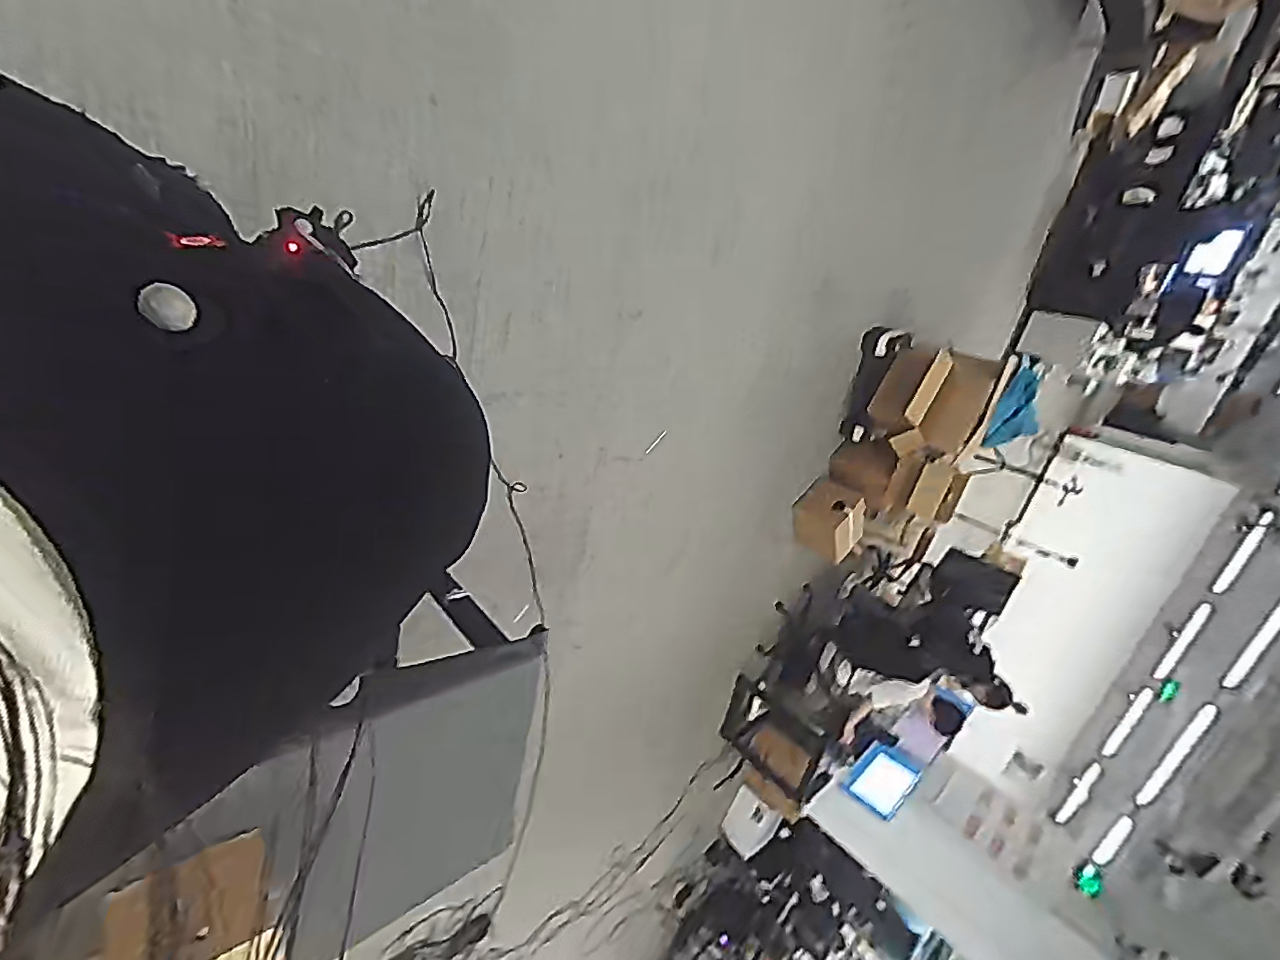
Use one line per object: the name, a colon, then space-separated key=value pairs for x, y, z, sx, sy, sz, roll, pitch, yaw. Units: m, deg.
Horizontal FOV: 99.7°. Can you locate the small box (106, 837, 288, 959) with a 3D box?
small box: x=-0.614 y=0.653 z=0.754 sx=0.179 sy=0.176 sz=0.168 roll=-6 pitch=116 yaw=-44
